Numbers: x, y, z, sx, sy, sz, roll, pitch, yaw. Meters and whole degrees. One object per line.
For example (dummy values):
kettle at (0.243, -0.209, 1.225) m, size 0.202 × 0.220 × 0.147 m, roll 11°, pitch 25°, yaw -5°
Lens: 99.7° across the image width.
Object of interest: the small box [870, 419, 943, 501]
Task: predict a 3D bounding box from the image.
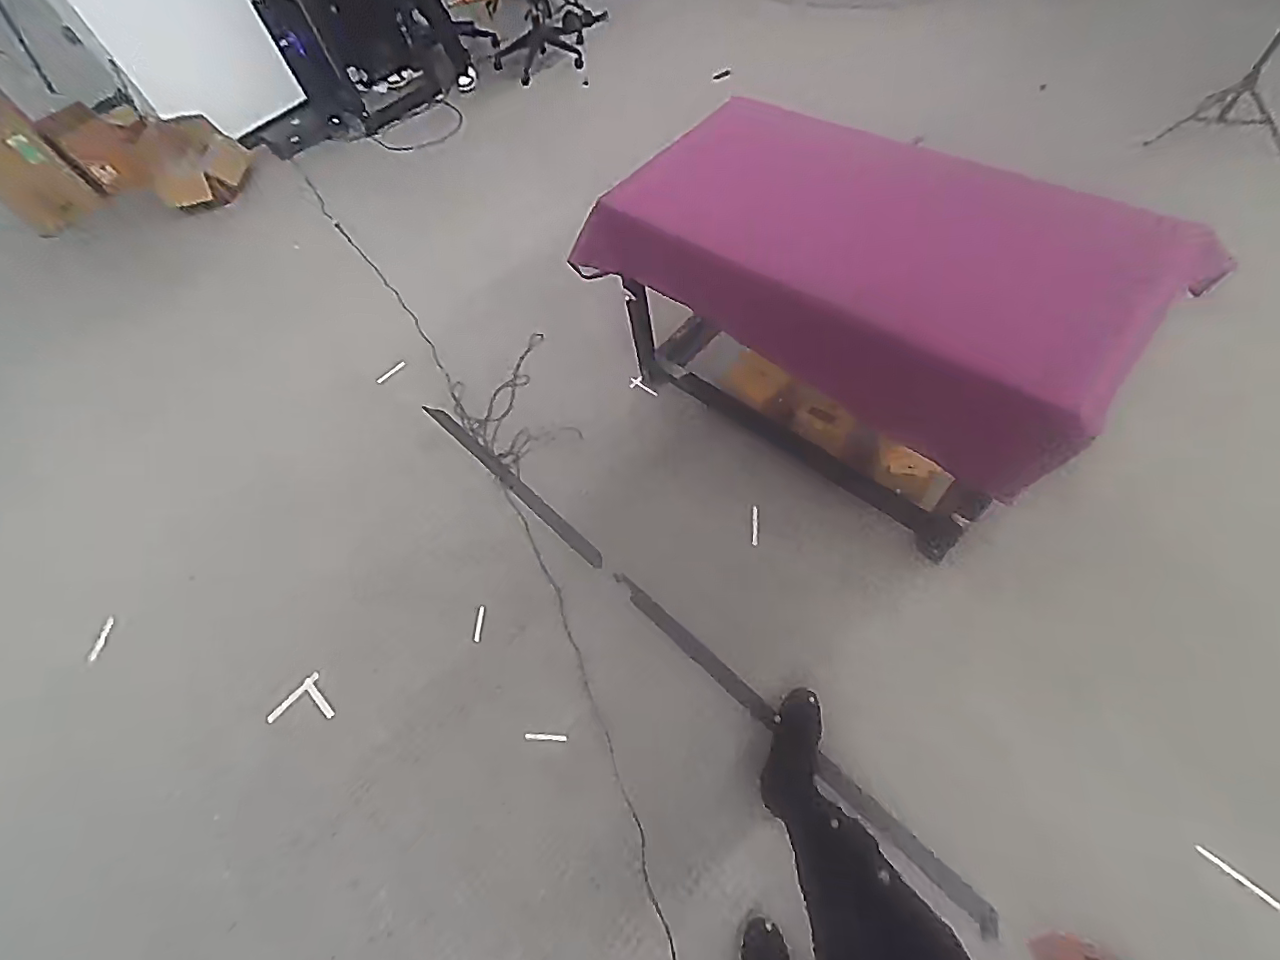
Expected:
small box at (0.806, -0.059, 1.647) m, size 0.168 × 0.176 × 0.179 m, roll 8°, pitch 61°, yaw 15°
